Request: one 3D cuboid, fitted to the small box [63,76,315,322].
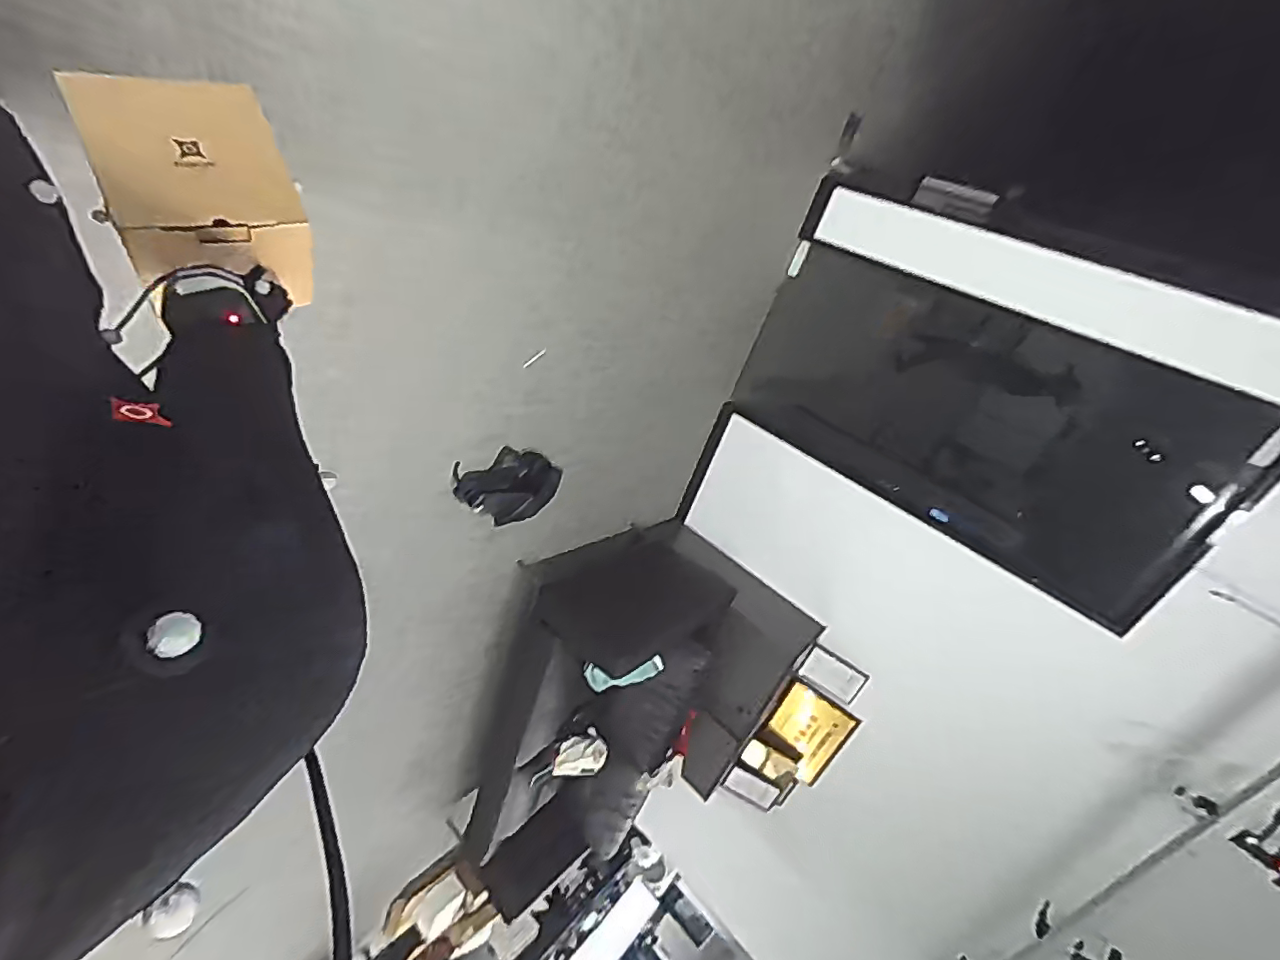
[{"bbox_3d":[-0.501,-0.310,0.624,0.168,0.179,0.176,-23,177,-36],"label":"small box"}]
